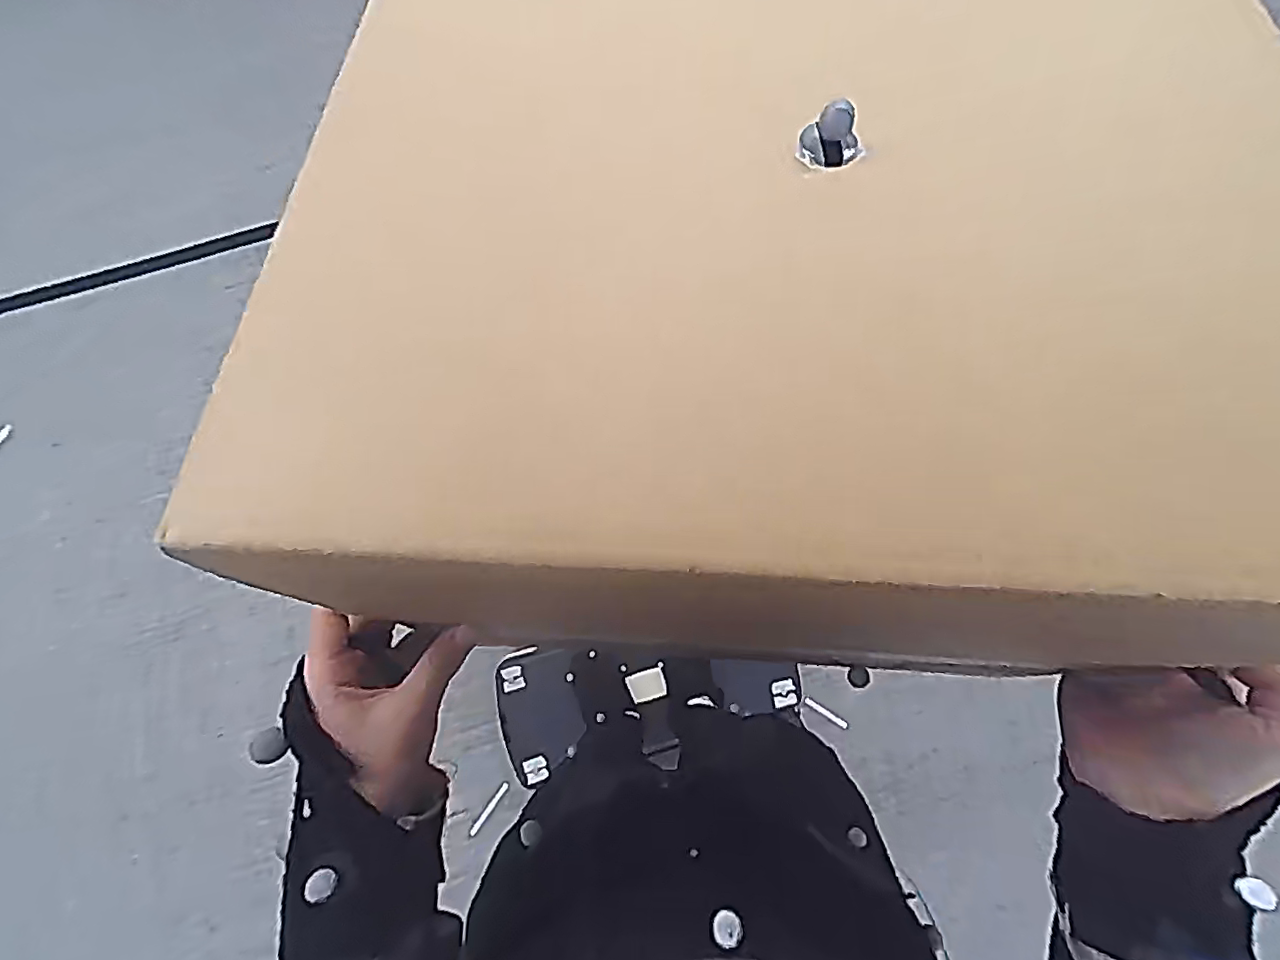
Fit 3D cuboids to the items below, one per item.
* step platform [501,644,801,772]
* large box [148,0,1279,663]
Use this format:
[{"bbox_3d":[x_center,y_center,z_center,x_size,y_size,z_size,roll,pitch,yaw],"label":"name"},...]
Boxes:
[{"bbox_3d":[0.023,0.455,1.279,0.684,0.204,0.286,-12,80,-3],"label":"step platform"},{"bbox_3d":[0.058,-0.062,0.340,0.408,0.320,0.320,1,70,3],"label":"large box"}]
